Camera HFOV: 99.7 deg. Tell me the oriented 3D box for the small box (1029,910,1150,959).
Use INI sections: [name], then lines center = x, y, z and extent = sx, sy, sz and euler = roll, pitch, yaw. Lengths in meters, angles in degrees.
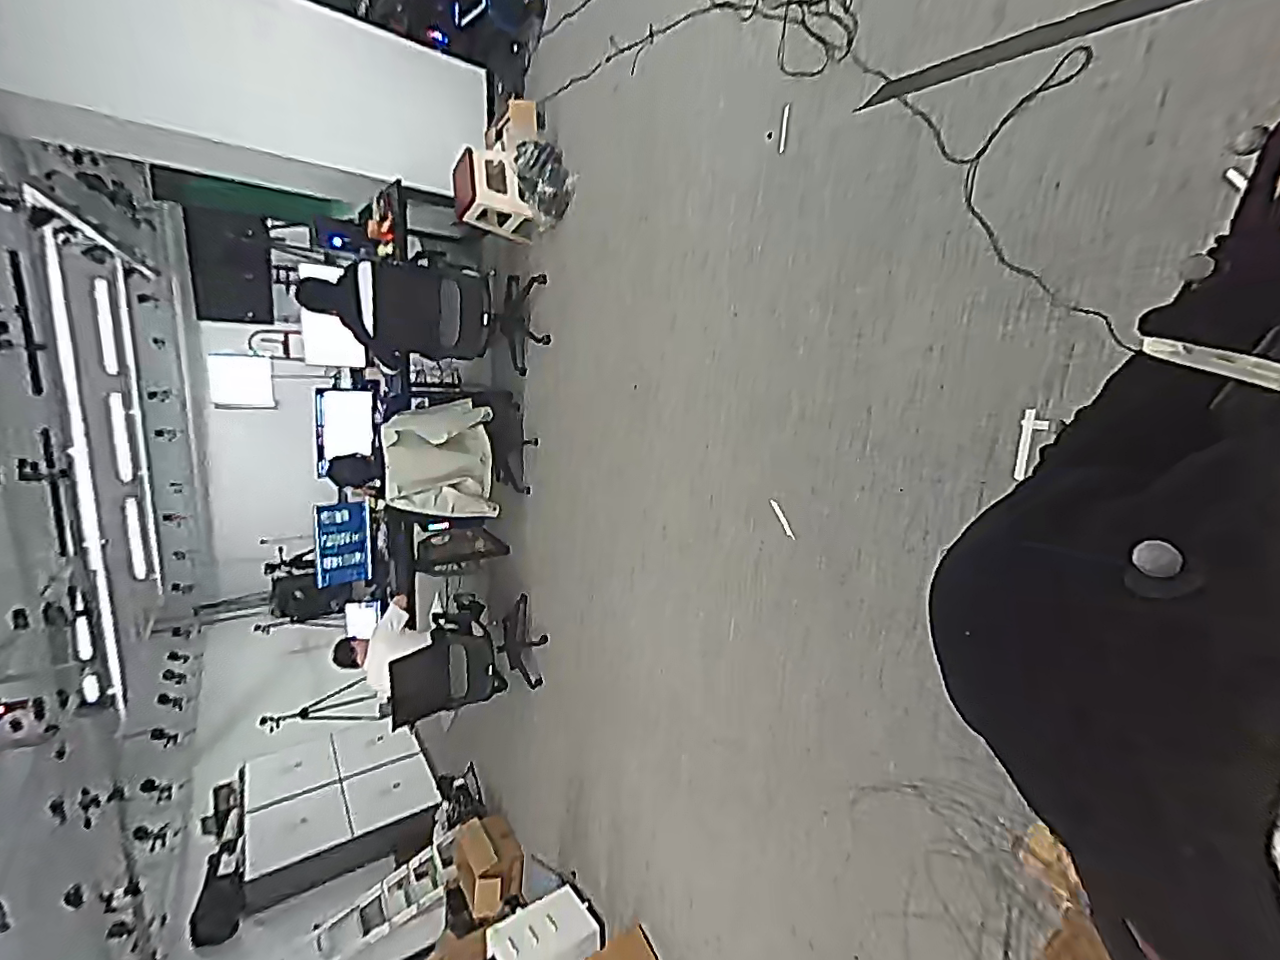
[small box]
center = 0.593, 0.716, 0.686
extent = 0.168, 0.176, 0.179
euler = 20, 109, 52
